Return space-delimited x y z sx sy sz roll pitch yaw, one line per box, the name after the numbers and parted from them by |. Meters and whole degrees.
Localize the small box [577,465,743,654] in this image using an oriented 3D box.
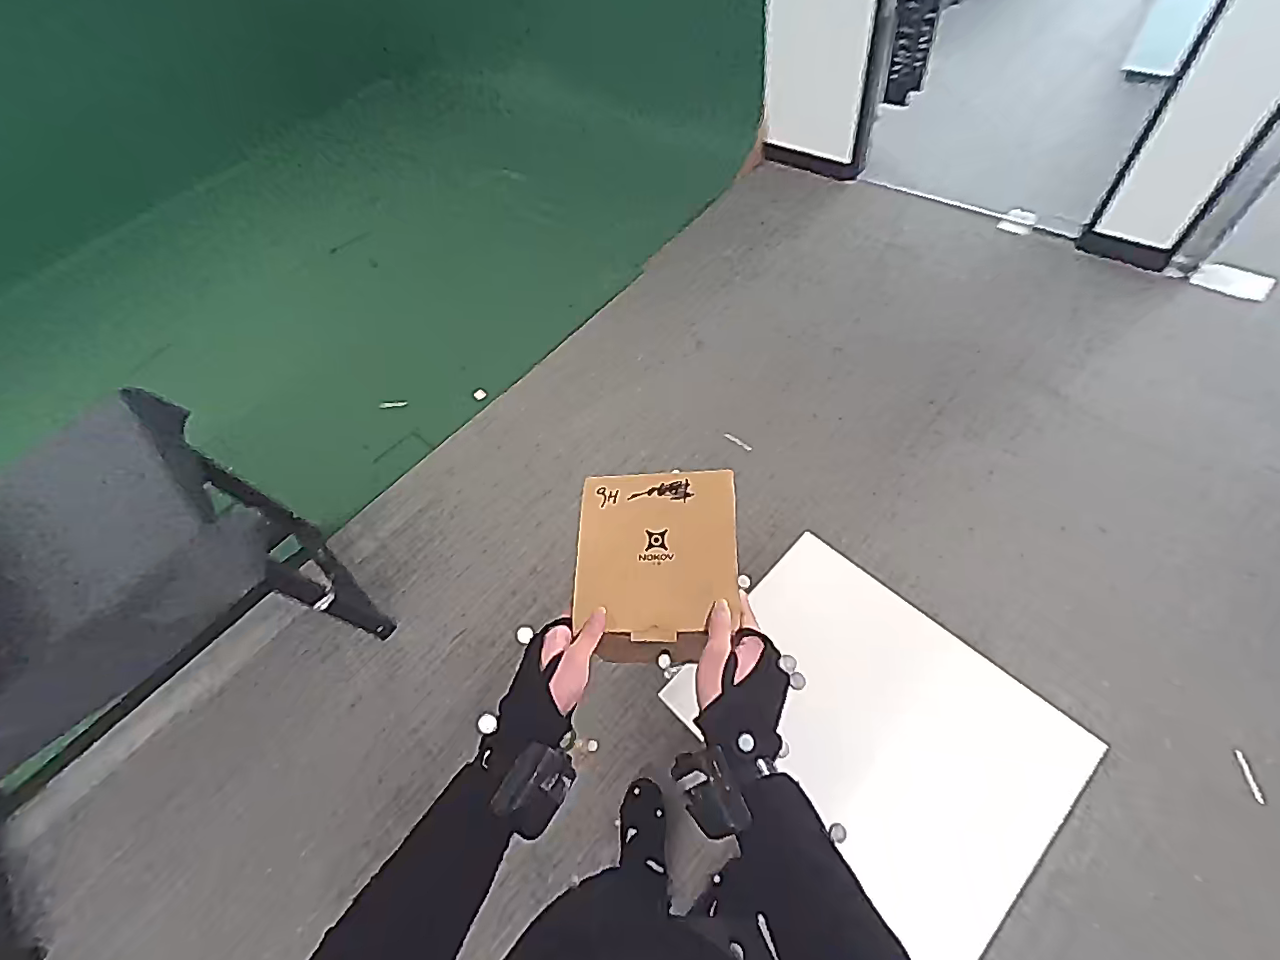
0.030 0.103 0.632 0.168 0.176 0.179 -5 62 8 | small box
